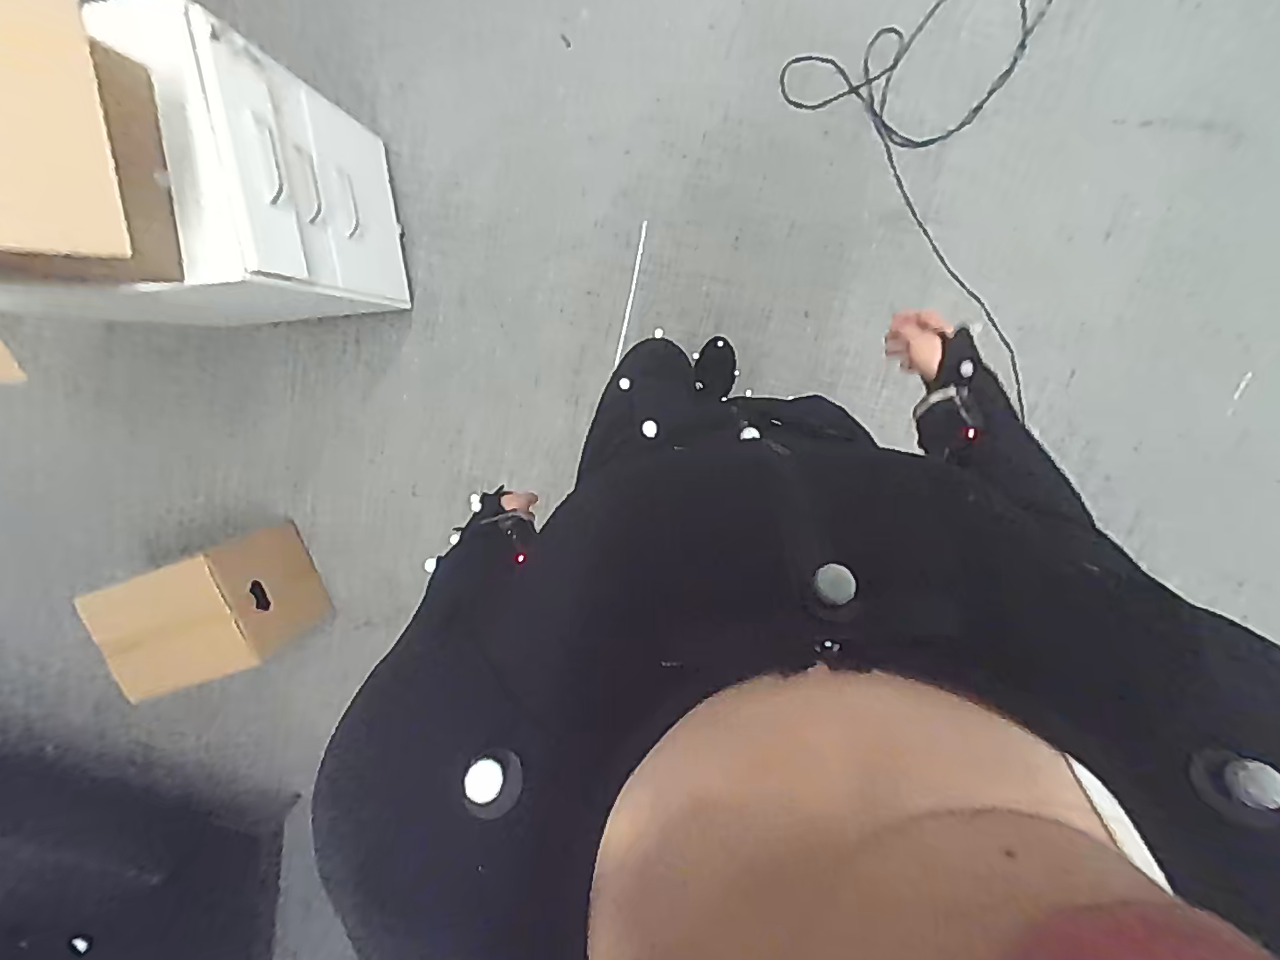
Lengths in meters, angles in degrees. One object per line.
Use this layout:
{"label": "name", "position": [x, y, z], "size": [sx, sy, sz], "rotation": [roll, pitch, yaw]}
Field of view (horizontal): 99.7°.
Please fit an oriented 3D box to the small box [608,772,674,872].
{"label": "small box", "position": [0.009, 1.046, 1.663], "size": [0.168, 0.176, 0.179], "rotation": [13, 103, 0]}
